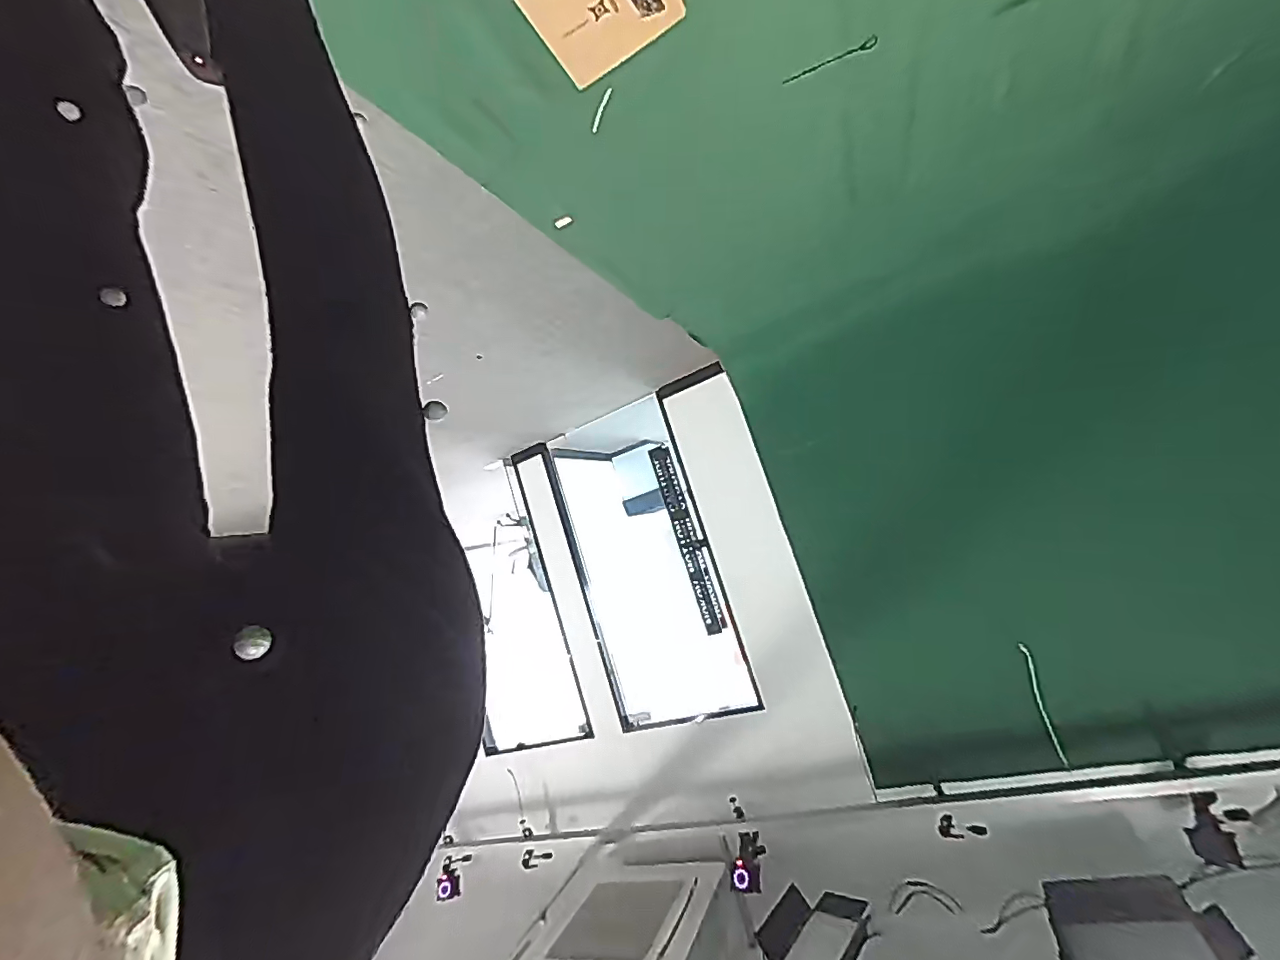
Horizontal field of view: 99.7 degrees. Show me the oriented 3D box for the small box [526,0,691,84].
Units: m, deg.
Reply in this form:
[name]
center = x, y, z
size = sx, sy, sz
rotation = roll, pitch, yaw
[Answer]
[small box]
center = -0.060, -0.676, 0.687
size = 0.179, 0.176, 0.168
rotation = -20, 172, 21
